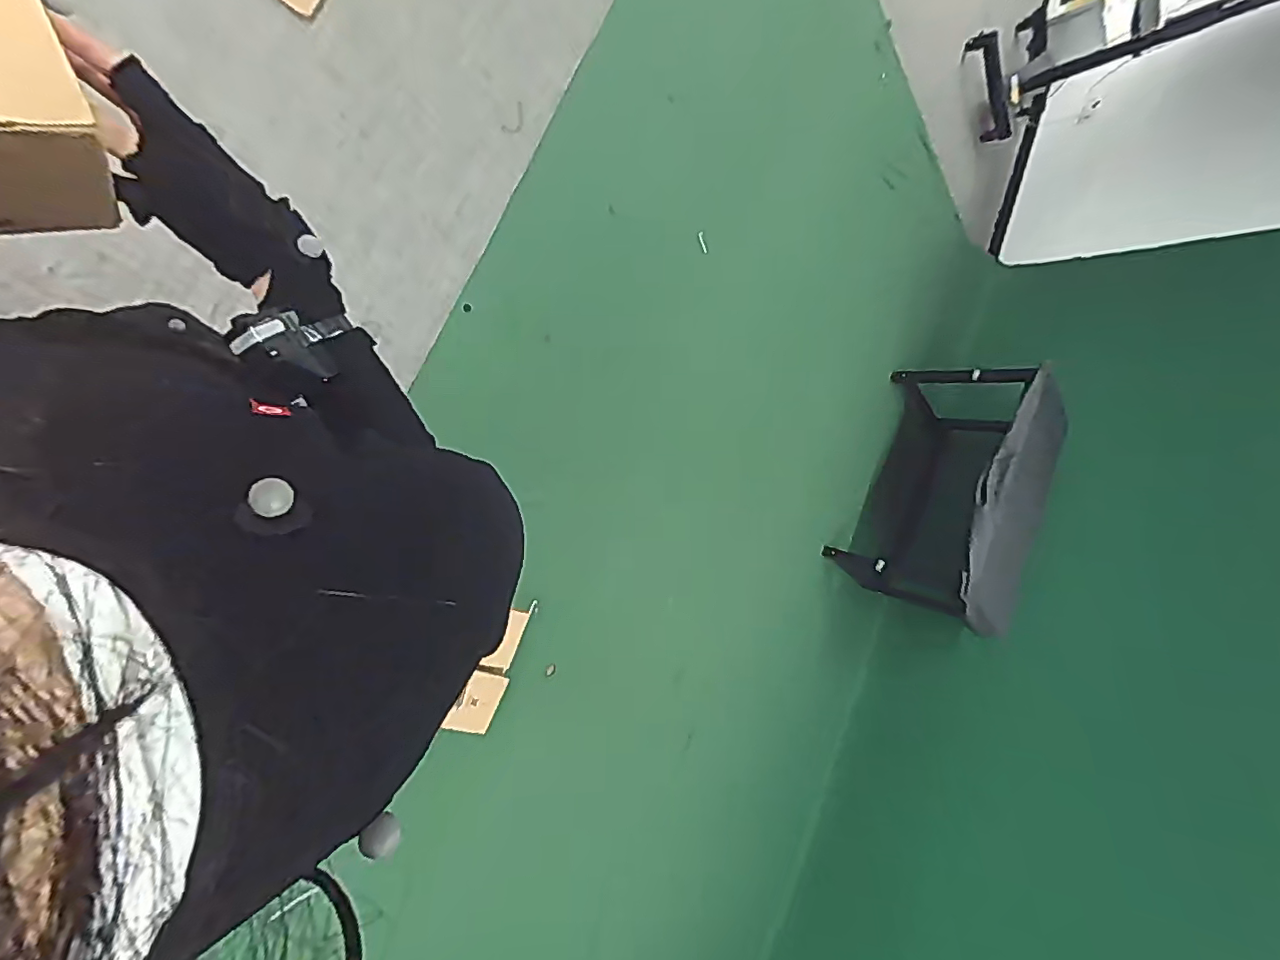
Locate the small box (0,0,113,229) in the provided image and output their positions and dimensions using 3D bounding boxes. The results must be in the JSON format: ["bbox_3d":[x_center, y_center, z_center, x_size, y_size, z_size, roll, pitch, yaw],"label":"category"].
[{"bbox_3d":[-0.405,-0.235,0.262,0.168,0.176,0.179,-28,112,-37],"label":"small box"}]
